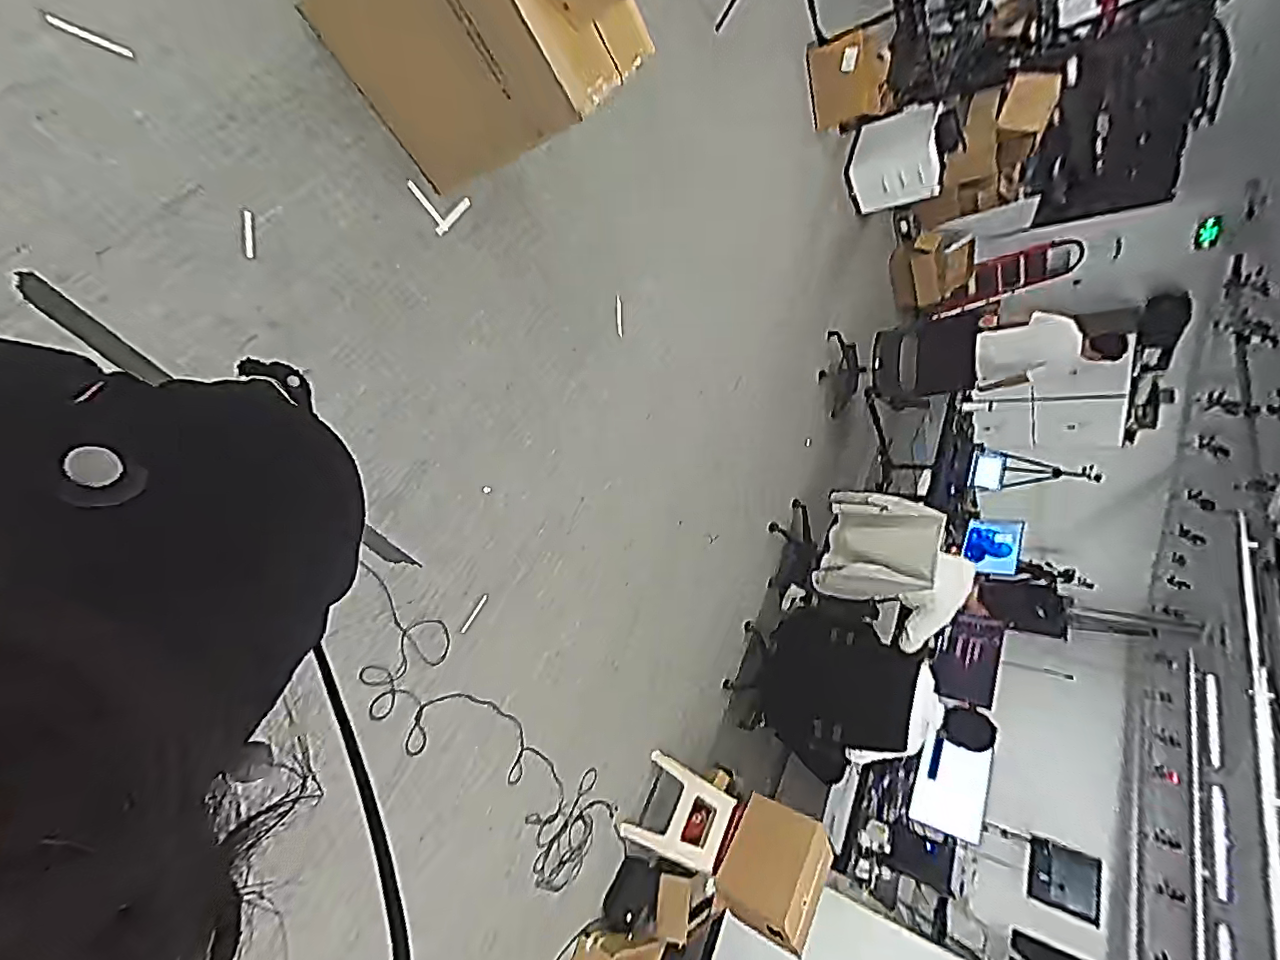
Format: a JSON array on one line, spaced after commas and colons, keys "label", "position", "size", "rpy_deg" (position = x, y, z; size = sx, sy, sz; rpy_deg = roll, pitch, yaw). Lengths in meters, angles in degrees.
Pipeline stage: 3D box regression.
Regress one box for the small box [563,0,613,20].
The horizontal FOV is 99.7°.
[{"label": "small box", "position": [-0.106, -1.116, 1.113], "size": [0.168, 0.176, 0.179], "rpy_deg": [13, 85, -50]}]
